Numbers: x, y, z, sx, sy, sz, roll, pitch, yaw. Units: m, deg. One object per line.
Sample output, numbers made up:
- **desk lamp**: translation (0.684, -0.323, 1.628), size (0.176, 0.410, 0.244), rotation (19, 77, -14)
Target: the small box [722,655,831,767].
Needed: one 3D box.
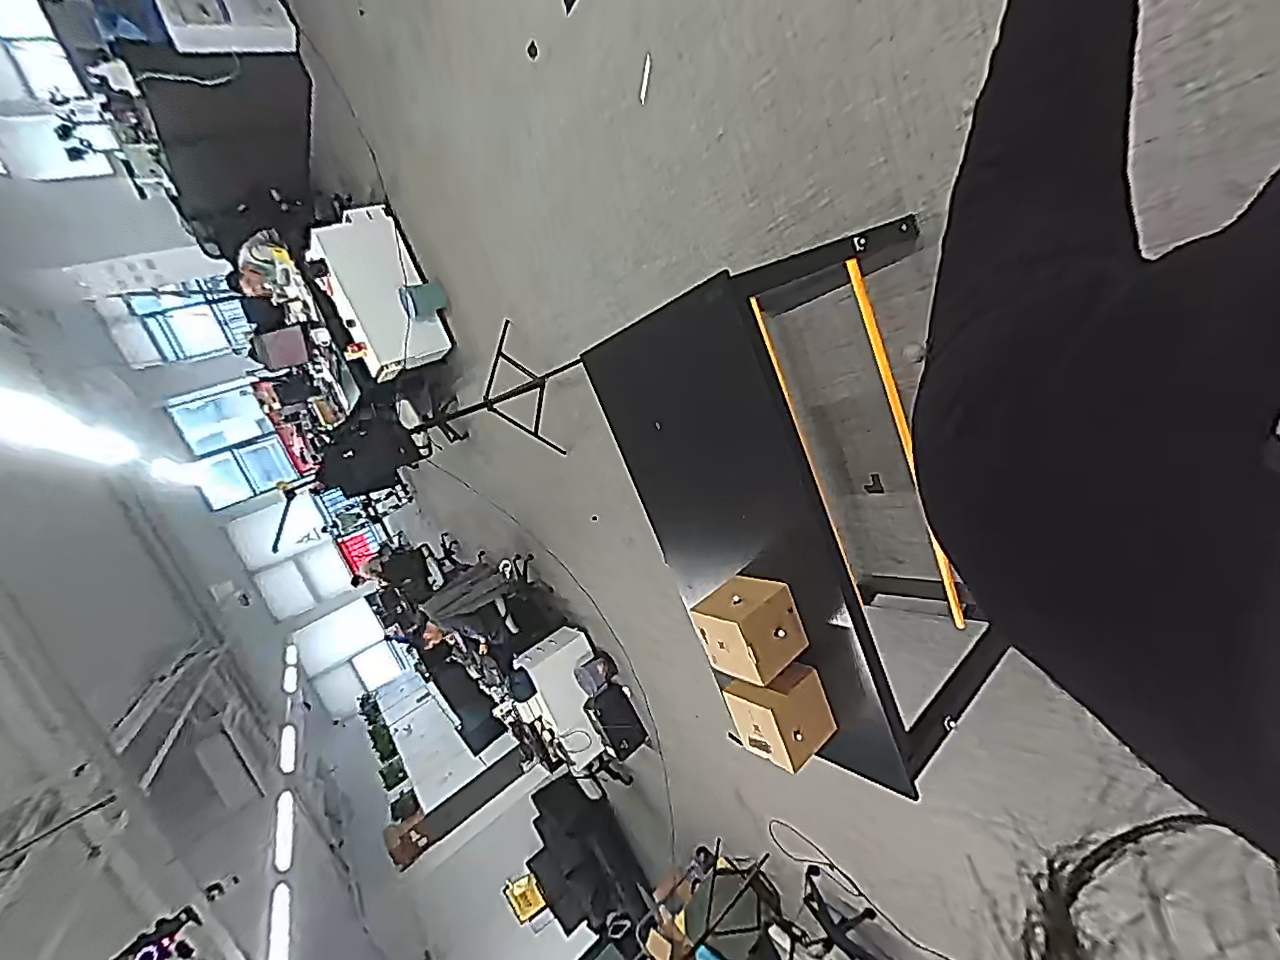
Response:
- **small box**: translation (0.336, 0.545, 1.319), size (0.168, 0.176, 0.179), rotation (-5, 109, 57)

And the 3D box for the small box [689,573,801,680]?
- **small box**: translation (0.254, 0.333, 1.271), size (0.179, 0.176, 0.168), rotation (-4, 111, 57)
